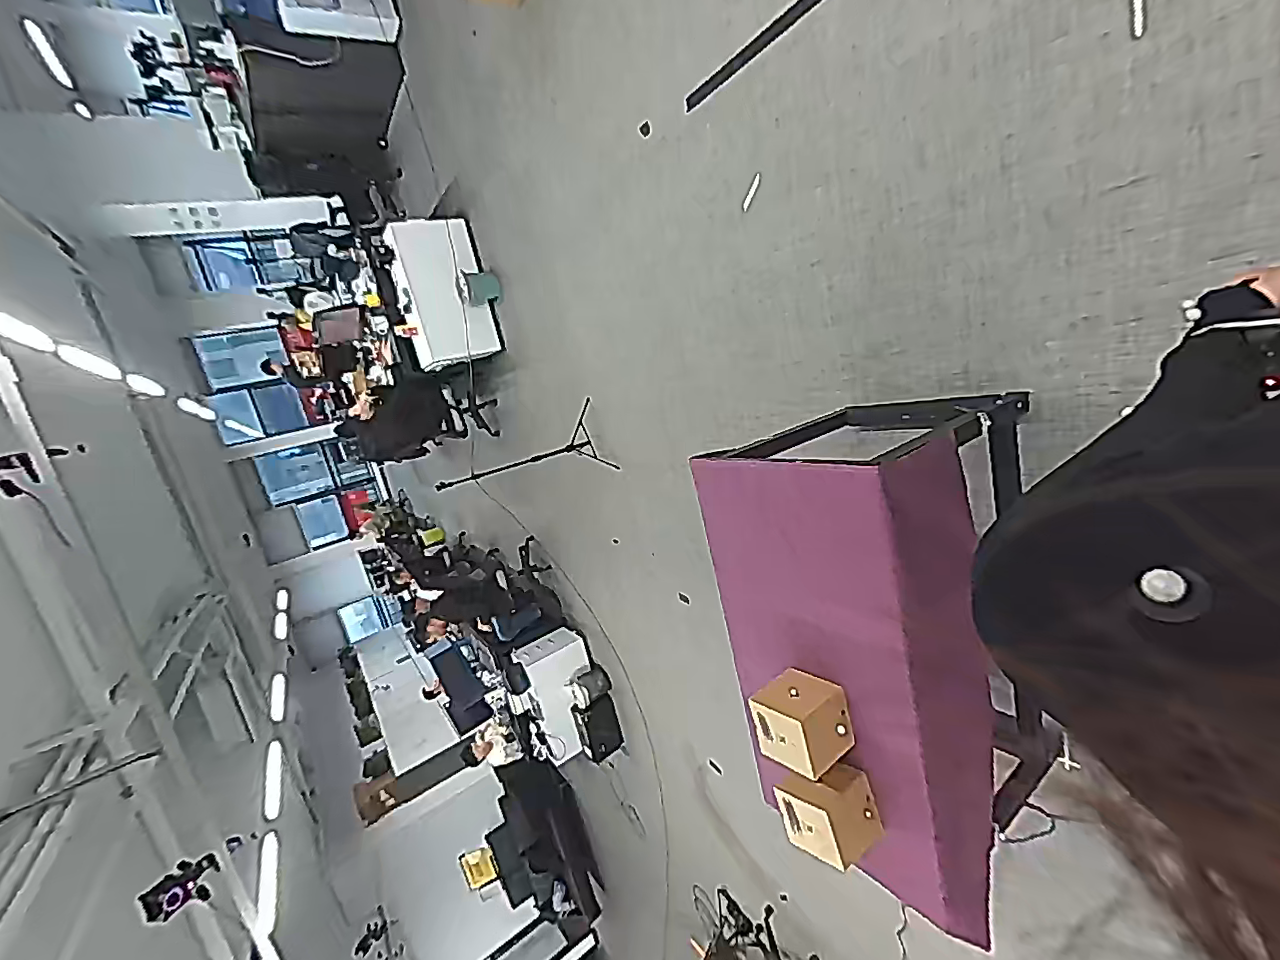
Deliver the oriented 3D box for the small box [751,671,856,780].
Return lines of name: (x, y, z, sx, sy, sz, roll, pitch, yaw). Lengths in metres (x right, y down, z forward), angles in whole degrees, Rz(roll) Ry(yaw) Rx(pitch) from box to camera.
small box: (0.420, 0.618, 1.391, 0.179, 0.176, 0.168, -1, 107, 57)
